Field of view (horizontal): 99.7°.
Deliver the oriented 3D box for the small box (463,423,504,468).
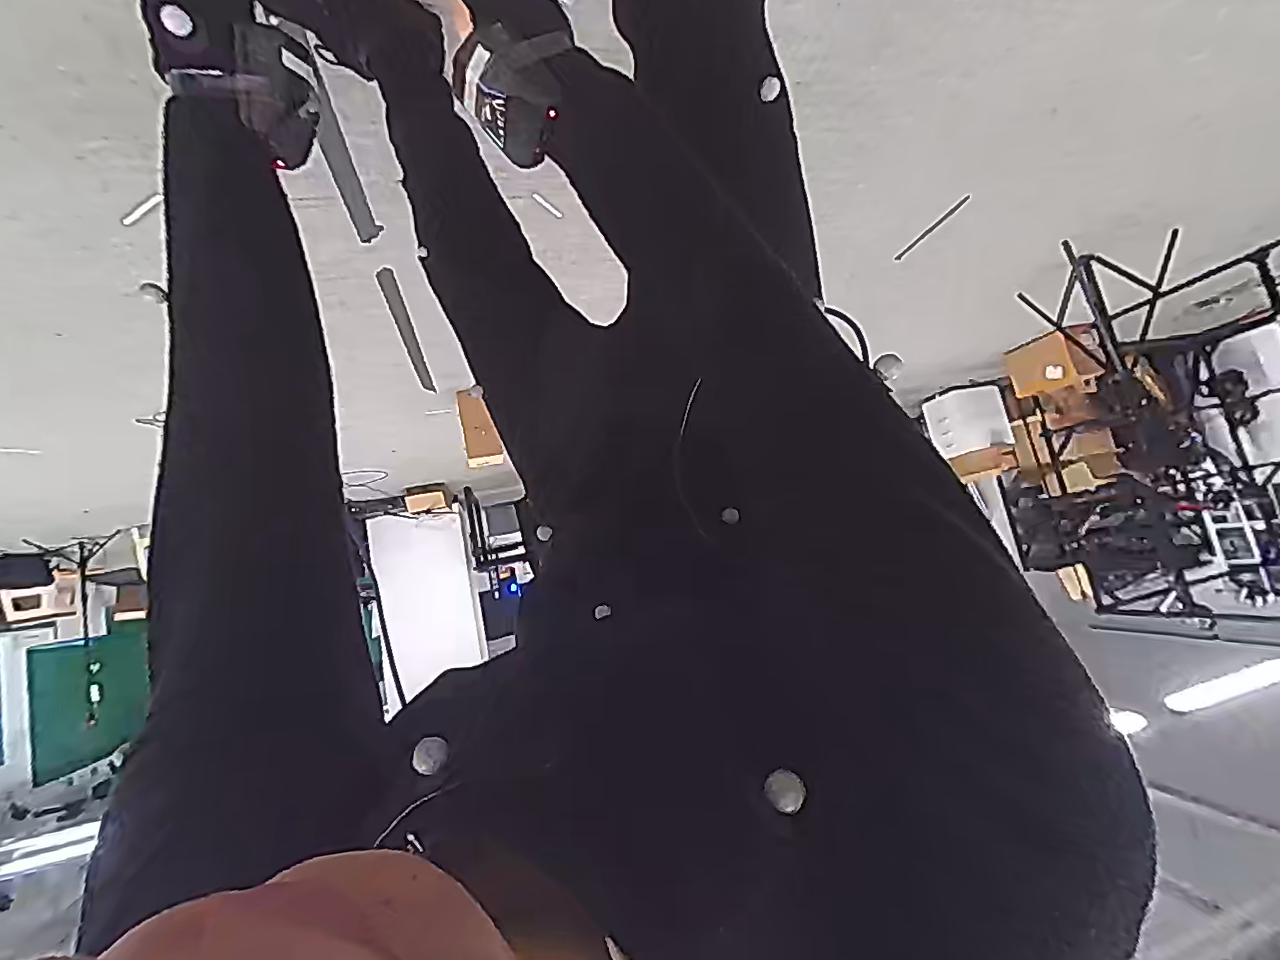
[{"bbox_3d":[-0.751,-0.166,2.597,0.168,0.176,0.179,-10,171,-16],"label":"small box"}]
